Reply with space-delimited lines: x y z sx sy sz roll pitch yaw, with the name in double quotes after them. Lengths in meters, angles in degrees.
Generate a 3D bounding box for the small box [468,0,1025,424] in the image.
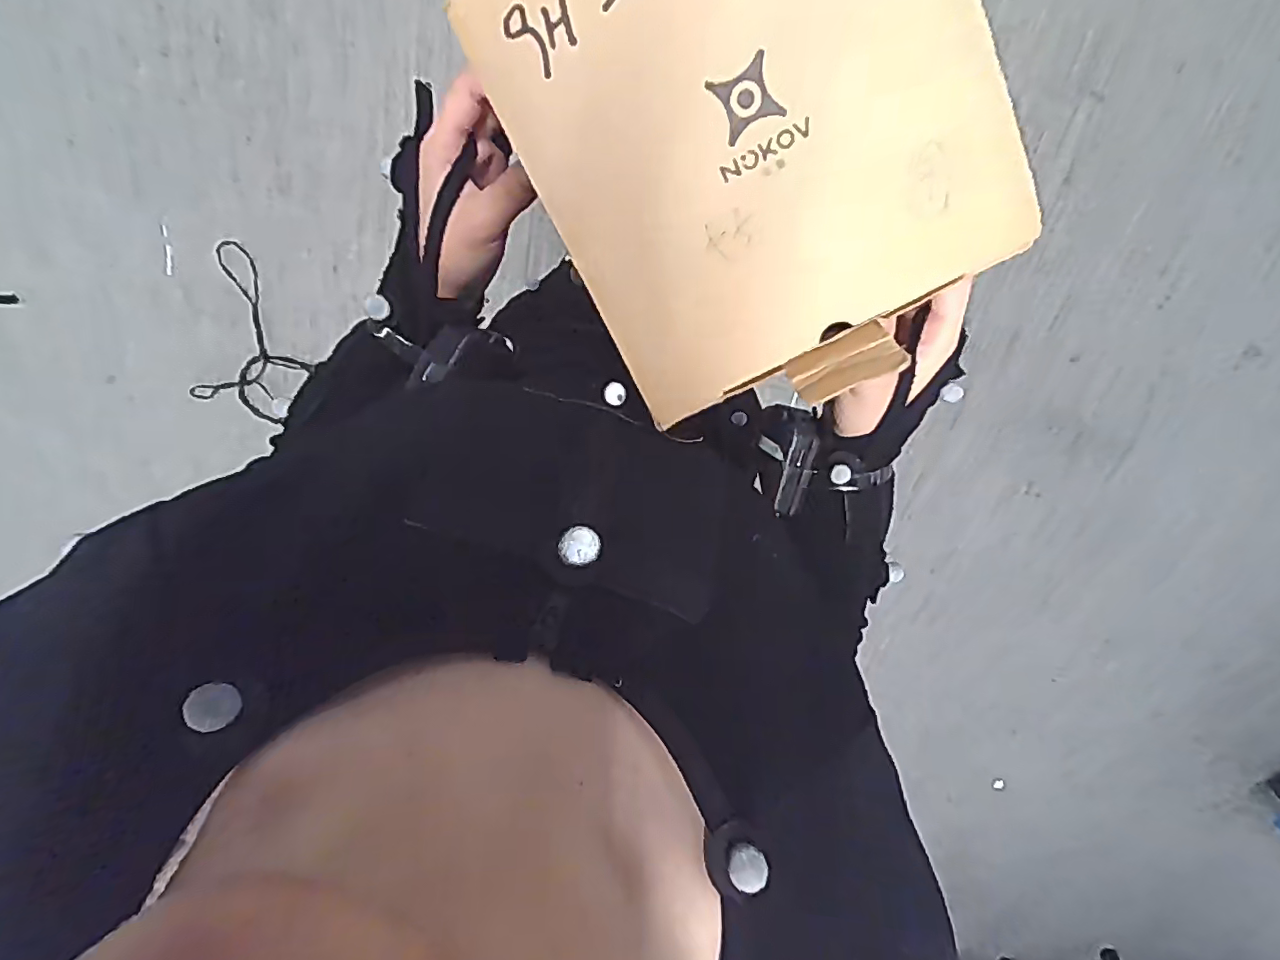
0.048 -0.154 0.282 0.168 0.176 0.179 -24 105 8 "small box"
